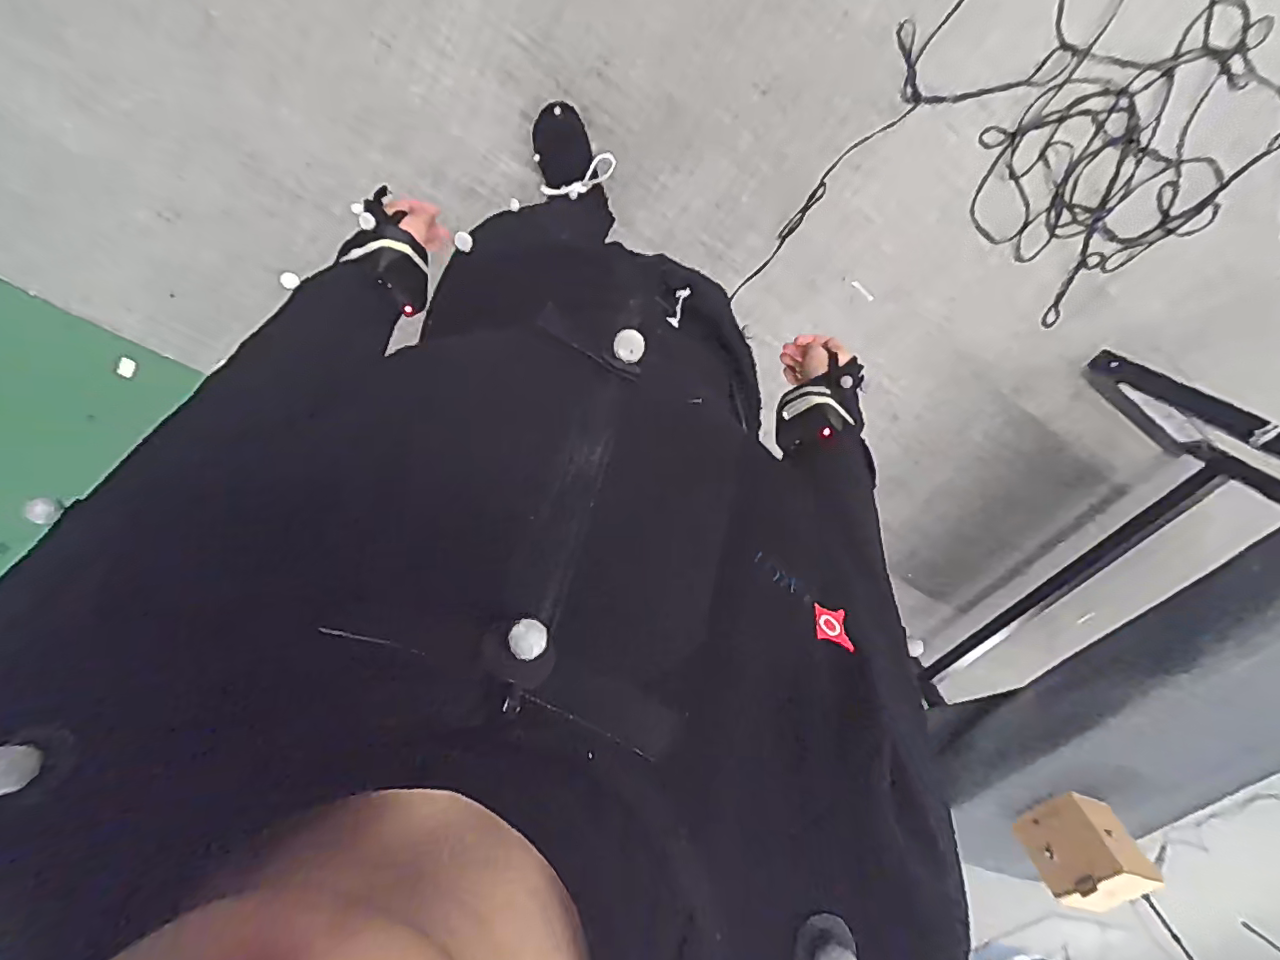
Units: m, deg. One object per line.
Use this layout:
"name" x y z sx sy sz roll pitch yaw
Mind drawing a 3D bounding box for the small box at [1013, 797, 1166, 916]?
"small box" 1.003 0.847 1.222 0.179 0.176 0.168 25 119 -22
